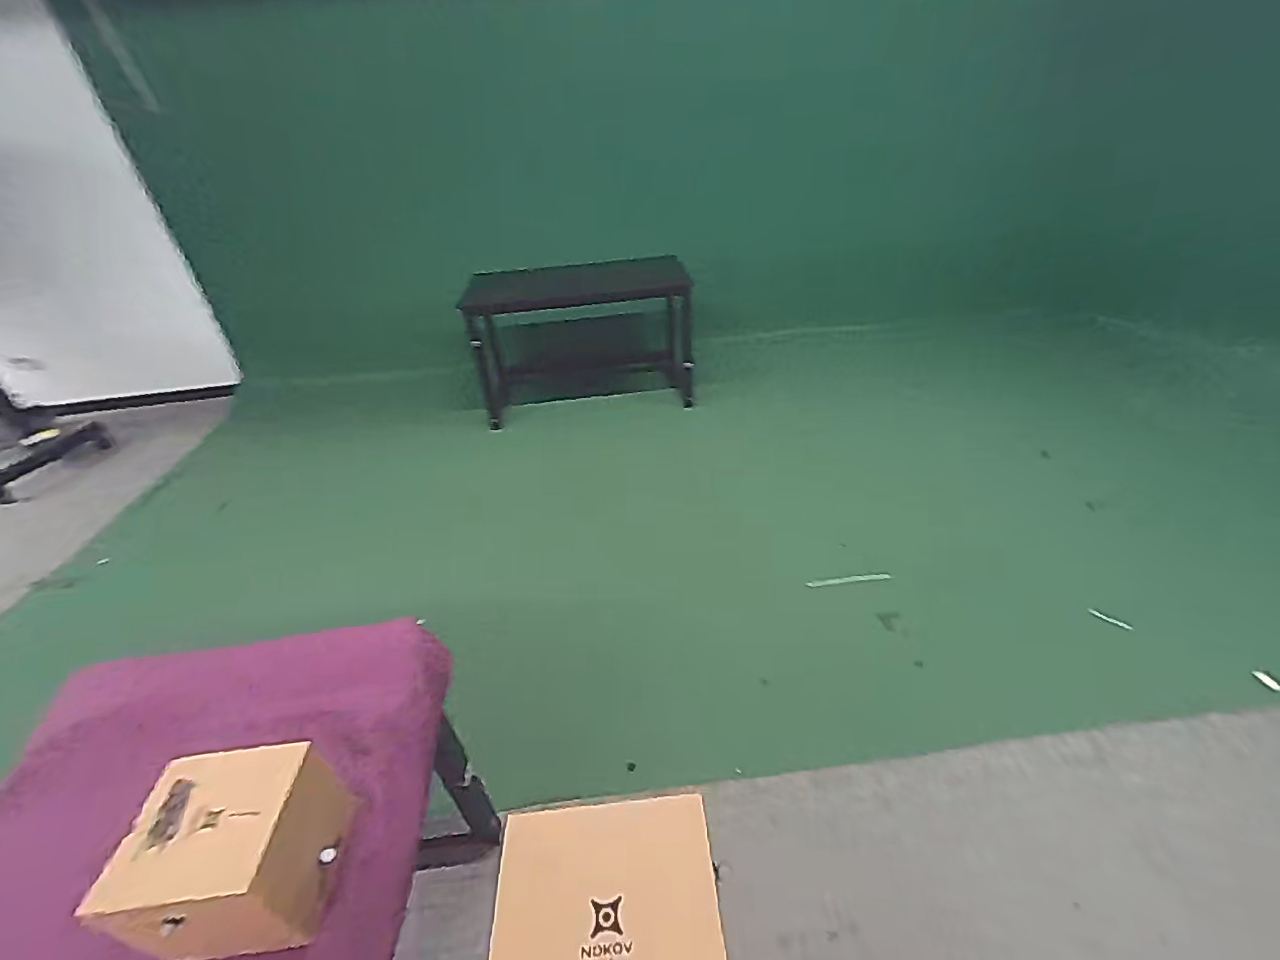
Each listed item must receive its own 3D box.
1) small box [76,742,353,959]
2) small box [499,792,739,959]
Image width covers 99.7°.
[{"bbox_3d":[-0.492,0.454,0.662,0.179,0.176,0.168,-6,35,-3],"label":"small box"},{"bbox_3d":[-0.009,0.381,0.423,0.168,0.176,0.179,-7,34,1],"label":"small box"}]
